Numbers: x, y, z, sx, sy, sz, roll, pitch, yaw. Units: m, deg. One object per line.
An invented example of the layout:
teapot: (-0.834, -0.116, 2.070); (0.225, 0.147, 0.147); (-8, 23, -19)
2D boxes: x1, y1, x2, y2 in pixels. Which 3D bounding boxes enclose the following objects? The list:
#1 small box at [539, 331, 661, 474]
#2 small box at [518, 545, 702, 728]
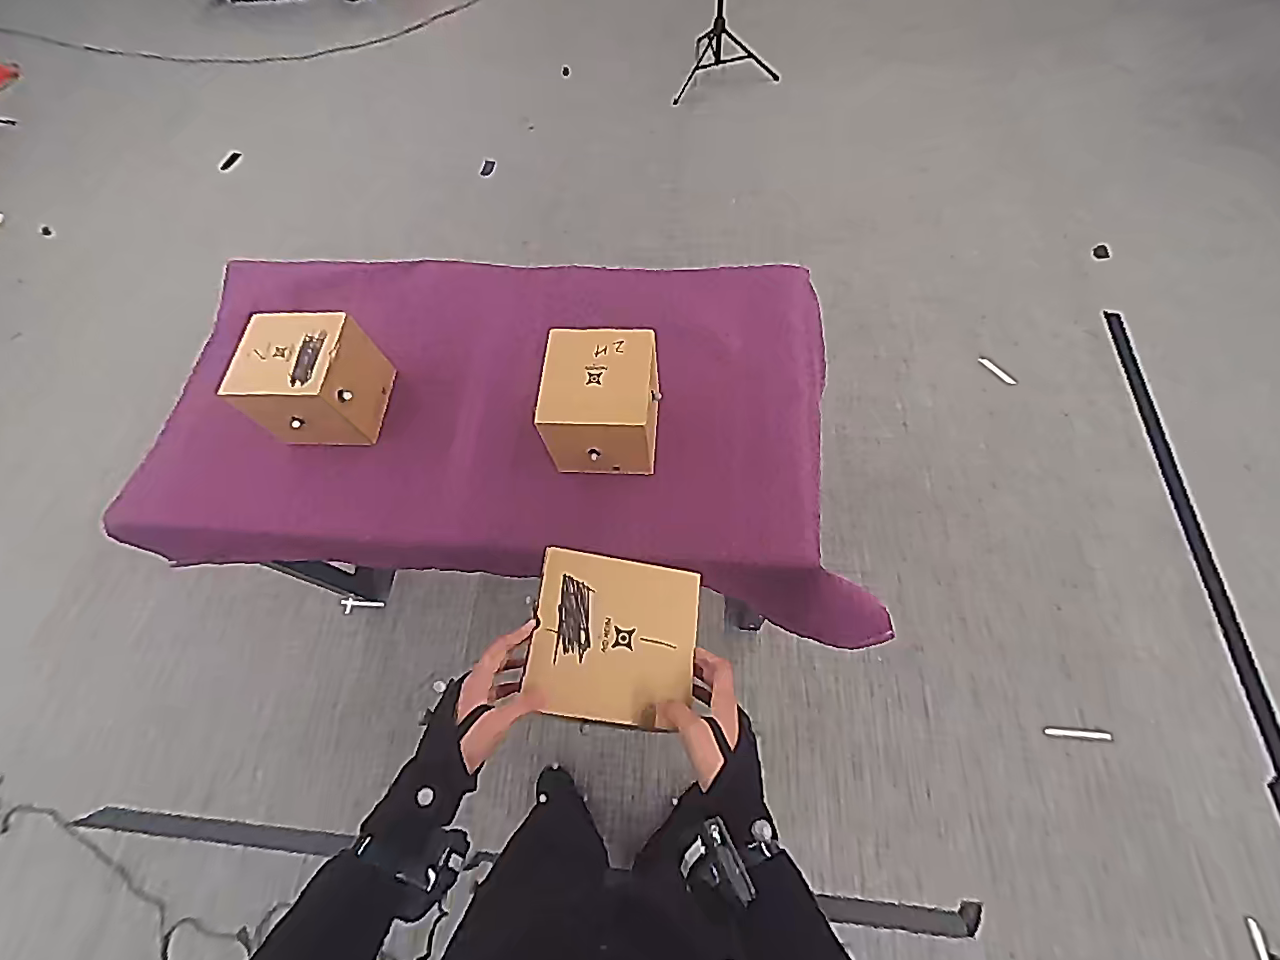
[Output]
small box: (-0.054, -0.121, 0.887); (0.168, 0.176, 0.179); (3, 66, 6)
small box: (-0.040, 0.192, 0.635); (0.179, 0.176, 0.168); (12, 64, -8)
